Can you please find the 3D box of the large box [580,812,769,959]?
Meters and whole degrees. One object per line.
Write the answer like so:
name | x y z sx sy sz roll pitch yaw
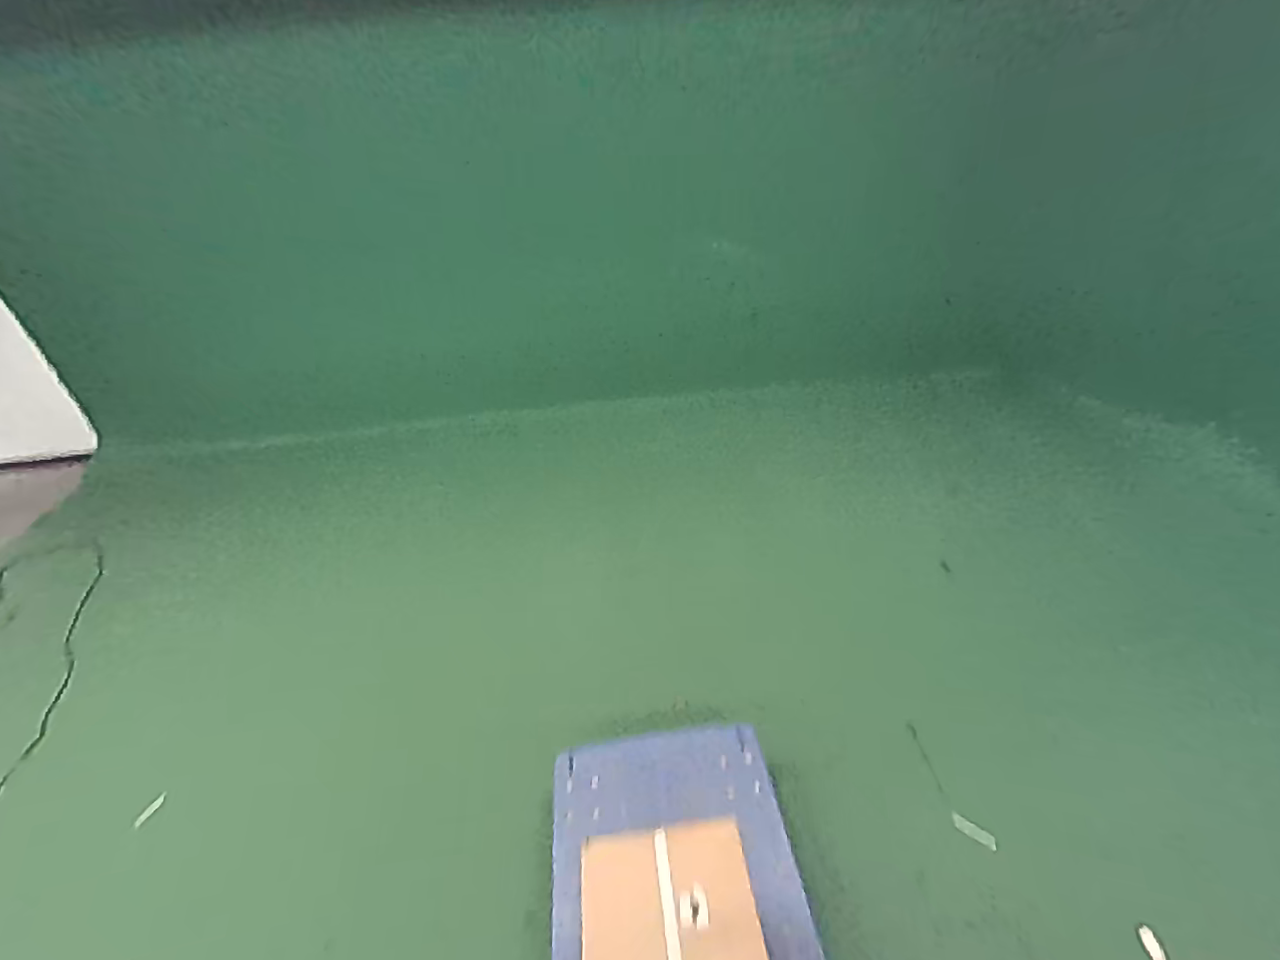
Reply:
large box | 0.069 0.920 0.999 0.320 0.320 0.408 -7 34 -3
